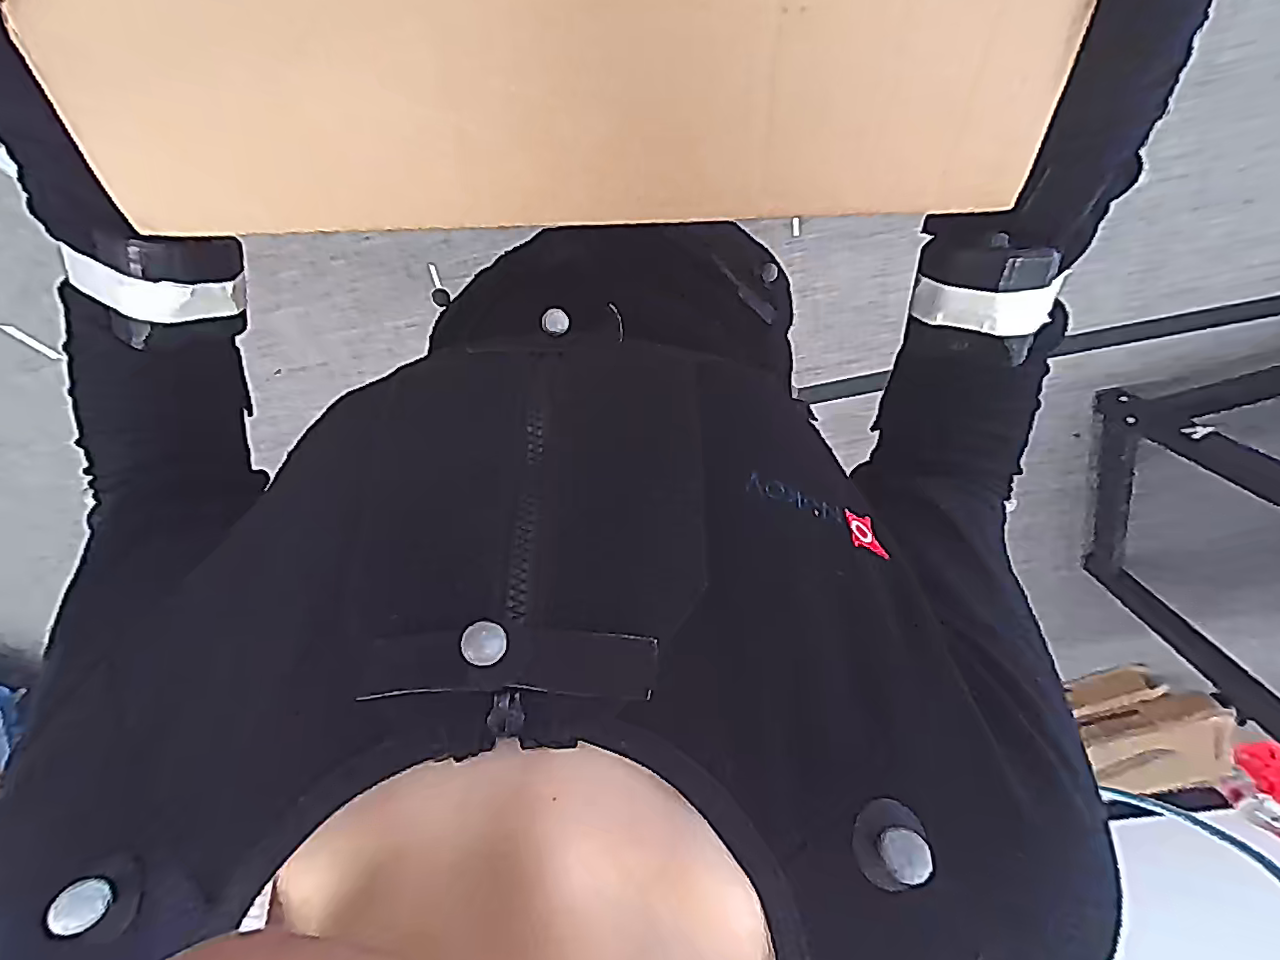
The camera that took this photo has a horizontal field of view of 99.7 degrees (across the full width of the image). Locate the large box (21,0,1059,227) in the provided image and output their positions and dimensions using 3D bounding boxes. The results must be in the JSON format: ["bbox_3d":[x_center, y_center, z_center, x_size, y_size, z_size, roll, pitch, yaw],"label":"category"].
[{"bbox_3d":[-0.038,-0.343,0.261,0.408,0.320,0.320,-1,132,2],"label":"large box"}]
